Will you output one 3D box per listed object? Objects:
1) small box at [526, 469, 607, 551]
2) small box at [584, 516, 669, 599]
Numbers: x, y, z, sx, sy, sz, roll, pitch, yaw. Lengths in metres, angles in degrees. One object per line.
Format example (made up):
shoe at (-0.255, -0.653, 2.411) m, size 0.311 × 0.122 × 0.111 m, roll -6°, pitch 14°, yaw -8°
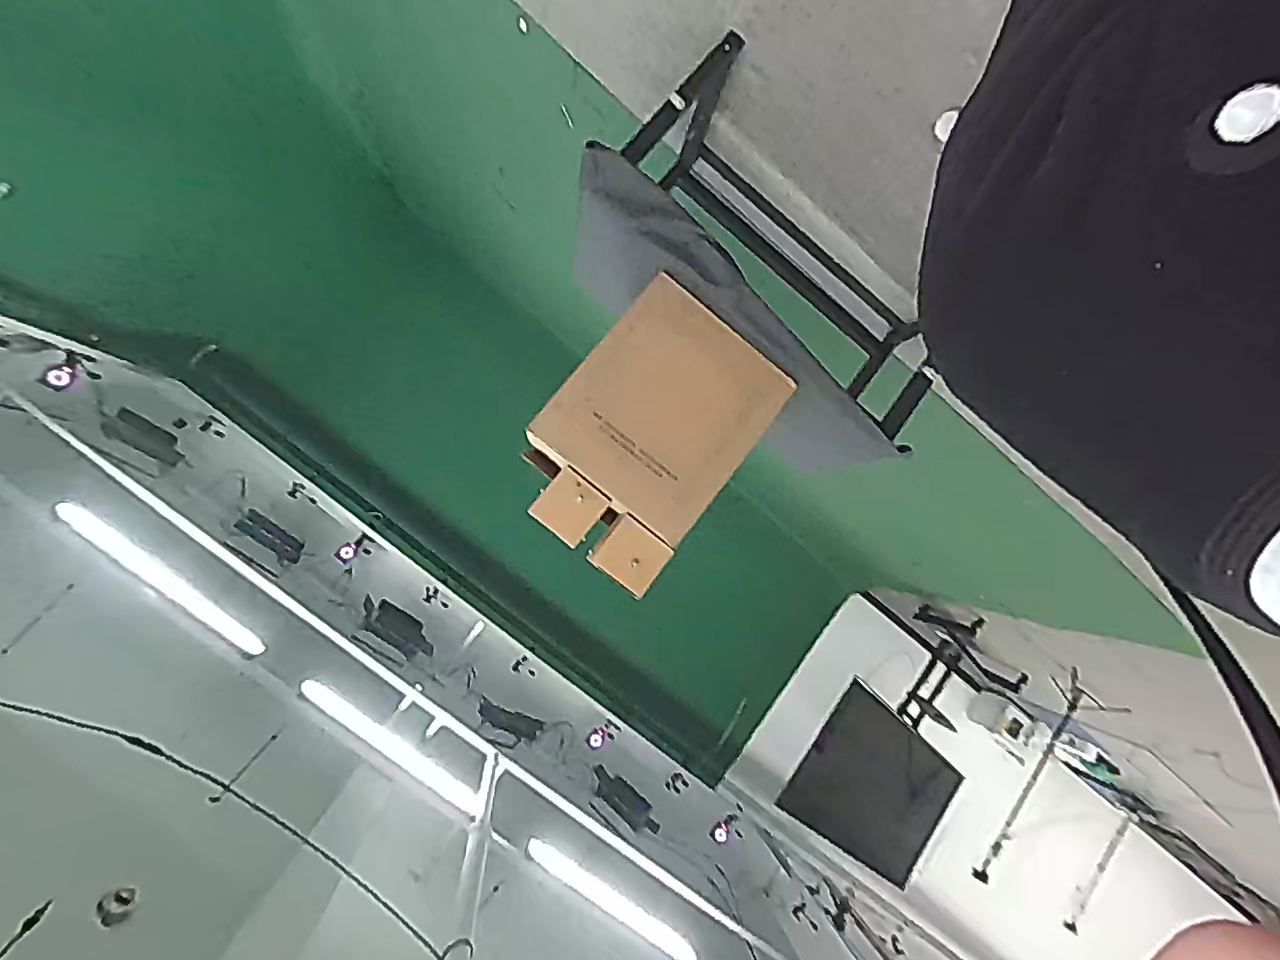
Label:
small box at (-0.214, 0.088, 1.581) m, size 0.168 × 0.176 × 0.179 m, roll 39°, pitch 169°, yaw -4°
small box at (-0.040, 0.223, 1.588) m, size 0.179 × 0.176 × 0.168 m, roll 38°, pitch 169°, yaw -5°
